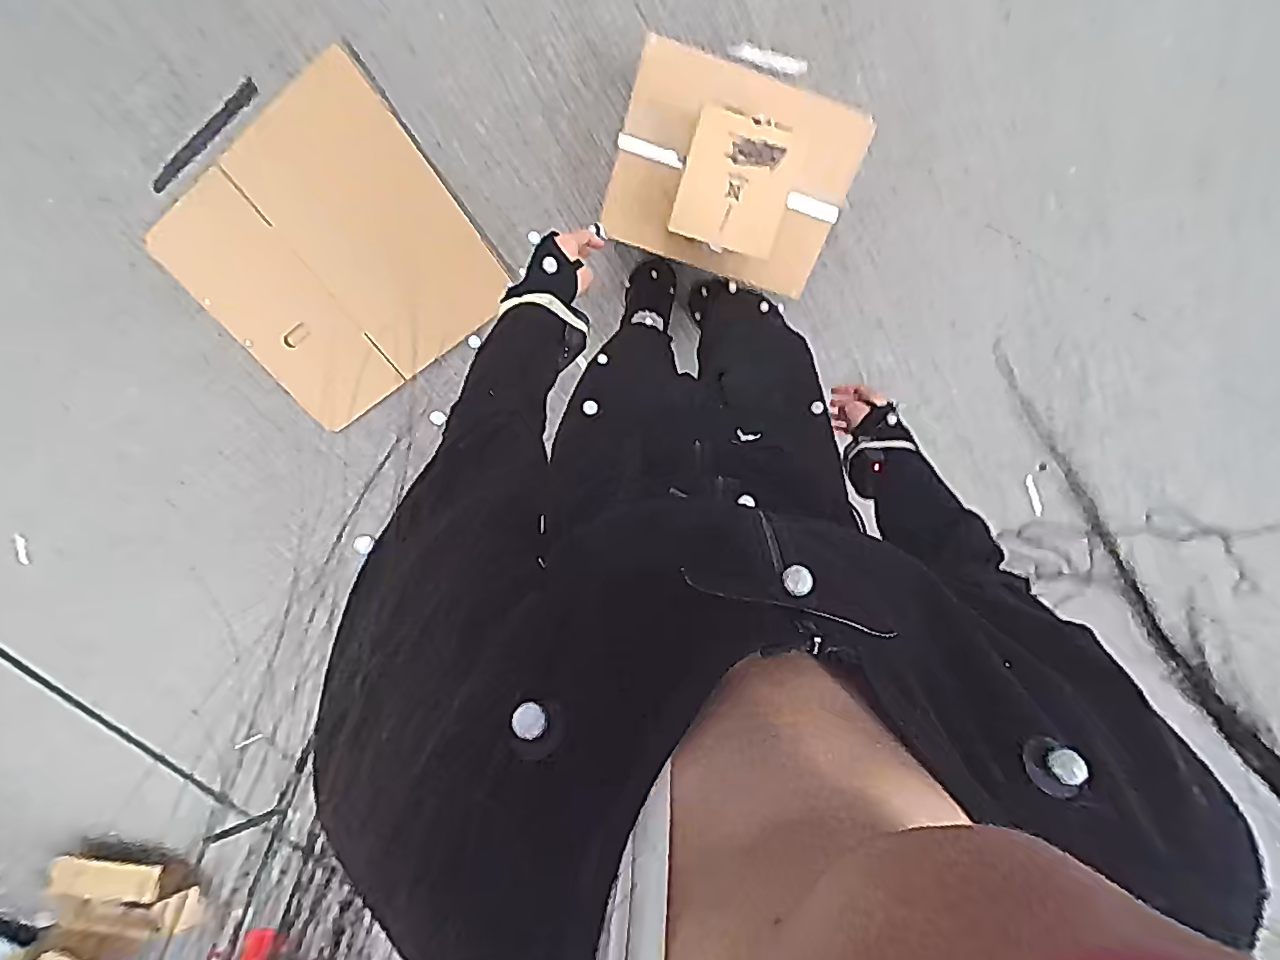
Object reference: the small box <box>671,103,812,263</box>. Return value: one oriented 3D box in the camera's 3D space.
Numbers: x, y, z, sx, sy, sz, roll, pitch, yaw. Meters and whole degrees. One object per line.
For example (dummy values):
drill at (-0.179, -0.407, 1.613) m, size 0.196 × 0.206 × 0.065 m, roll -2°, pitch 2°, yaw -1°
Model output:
small box at (0.149, -0.473, 0.875) m, size 0.168 × 0.176 × 0.179 m, roll 15°, pitch 118°, yaw -6°
